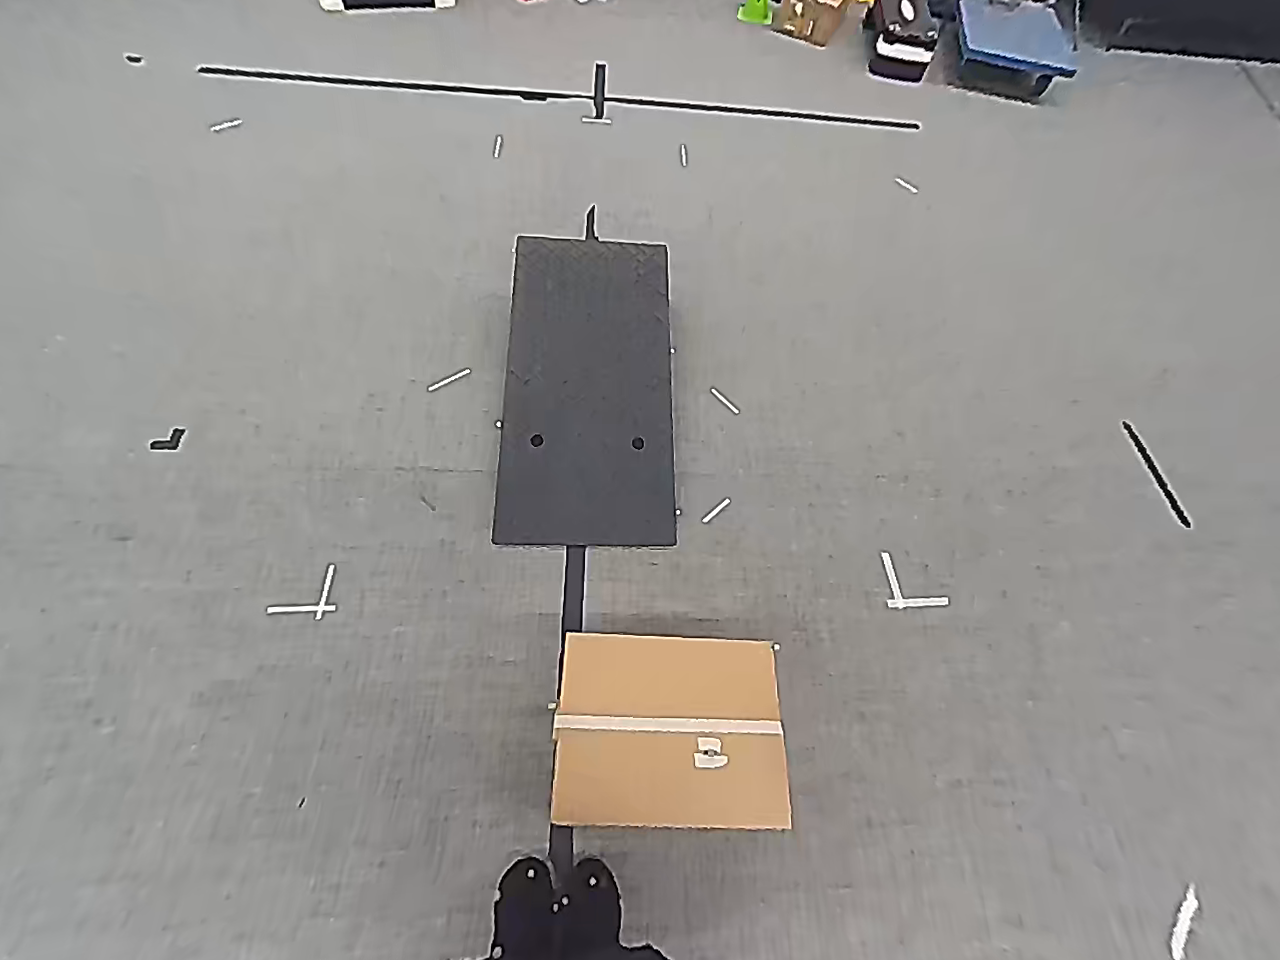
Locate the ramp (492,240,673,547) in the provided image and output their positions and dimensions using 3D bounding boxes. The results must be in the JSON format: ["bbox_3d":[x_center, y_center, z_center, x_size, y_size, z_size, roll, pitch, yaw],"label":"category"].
[{"bbox_3d":[-0.153,-0.294,1.607,0.509,0.206,0.991,1,61,-7],"label":"ramp"}]

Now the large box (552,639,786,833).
[{"bbox_3d":[0.034,0.523,1.097,0.408,0.320,0.320,4,60,-5],"label":"large box"}]
